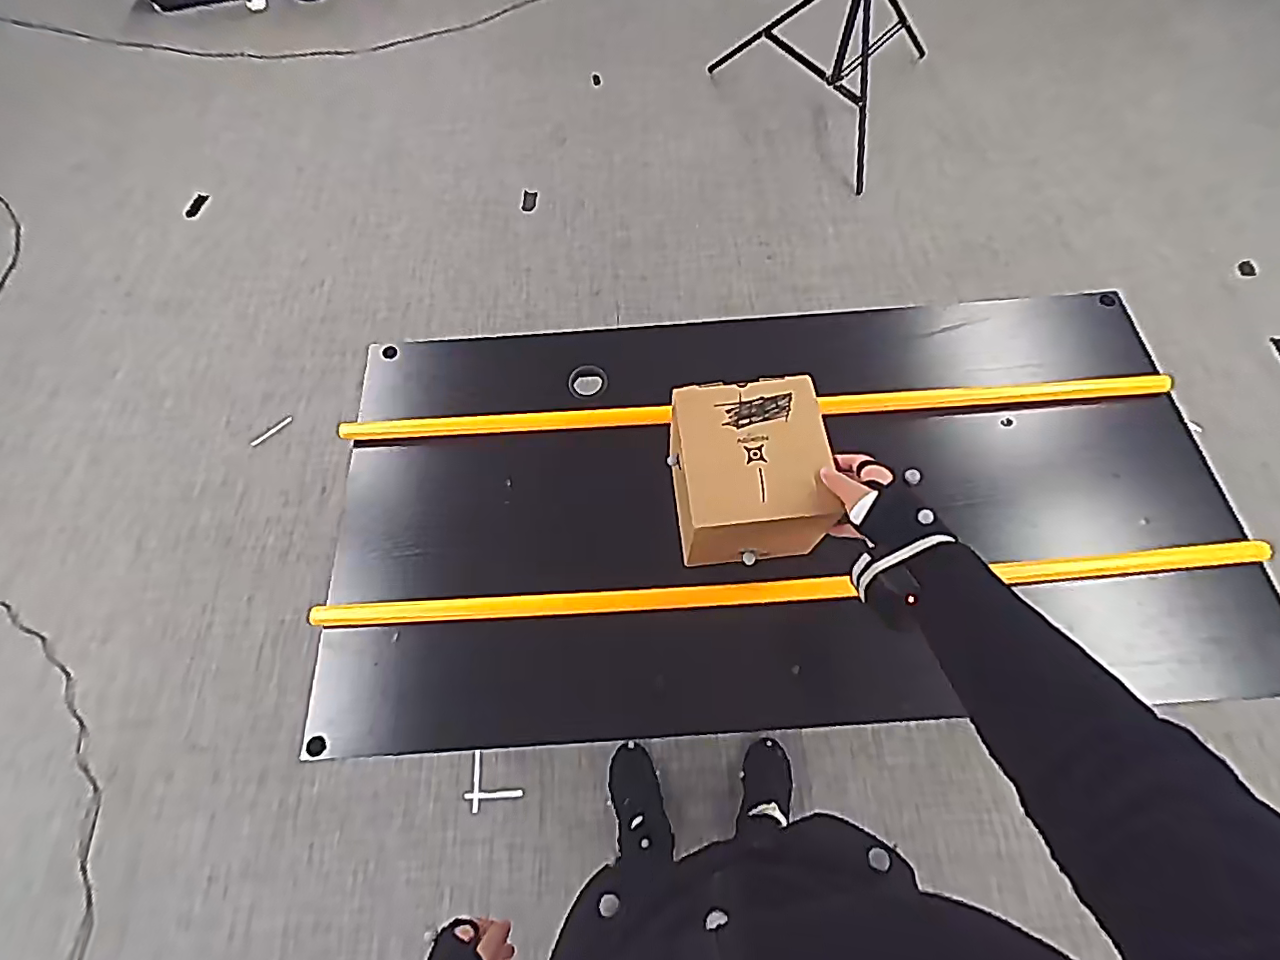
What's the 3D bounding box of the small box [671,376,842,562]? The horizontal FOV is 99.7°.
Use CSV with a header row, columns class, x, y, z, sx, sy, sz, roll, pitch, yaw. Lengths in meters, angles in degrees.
class,x,y,z,sx,sy,sz,roll,pitch,yaw
small box,0.131,-0.007,0.684,0.168,0.176,0.179,-6,67,0
